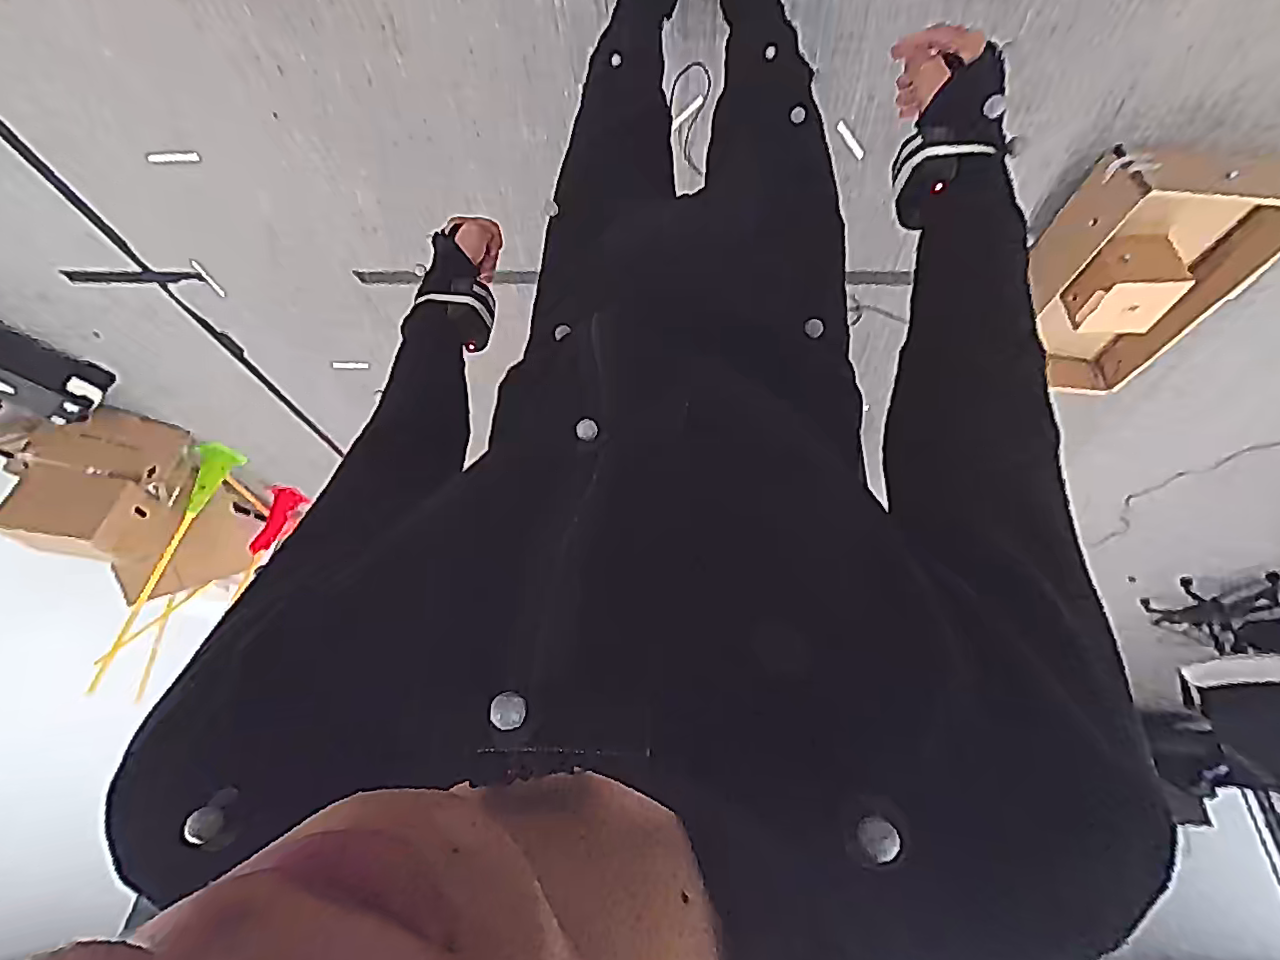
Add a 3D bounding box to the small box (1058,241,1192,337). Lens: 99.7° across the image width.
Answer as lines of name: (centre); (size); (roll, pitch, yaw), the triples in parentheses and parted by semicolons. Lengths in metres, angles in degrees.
small box: (1.218, -0.487, 1.379); (0.179, 0.176, 0.168); (2, 151, 6)
